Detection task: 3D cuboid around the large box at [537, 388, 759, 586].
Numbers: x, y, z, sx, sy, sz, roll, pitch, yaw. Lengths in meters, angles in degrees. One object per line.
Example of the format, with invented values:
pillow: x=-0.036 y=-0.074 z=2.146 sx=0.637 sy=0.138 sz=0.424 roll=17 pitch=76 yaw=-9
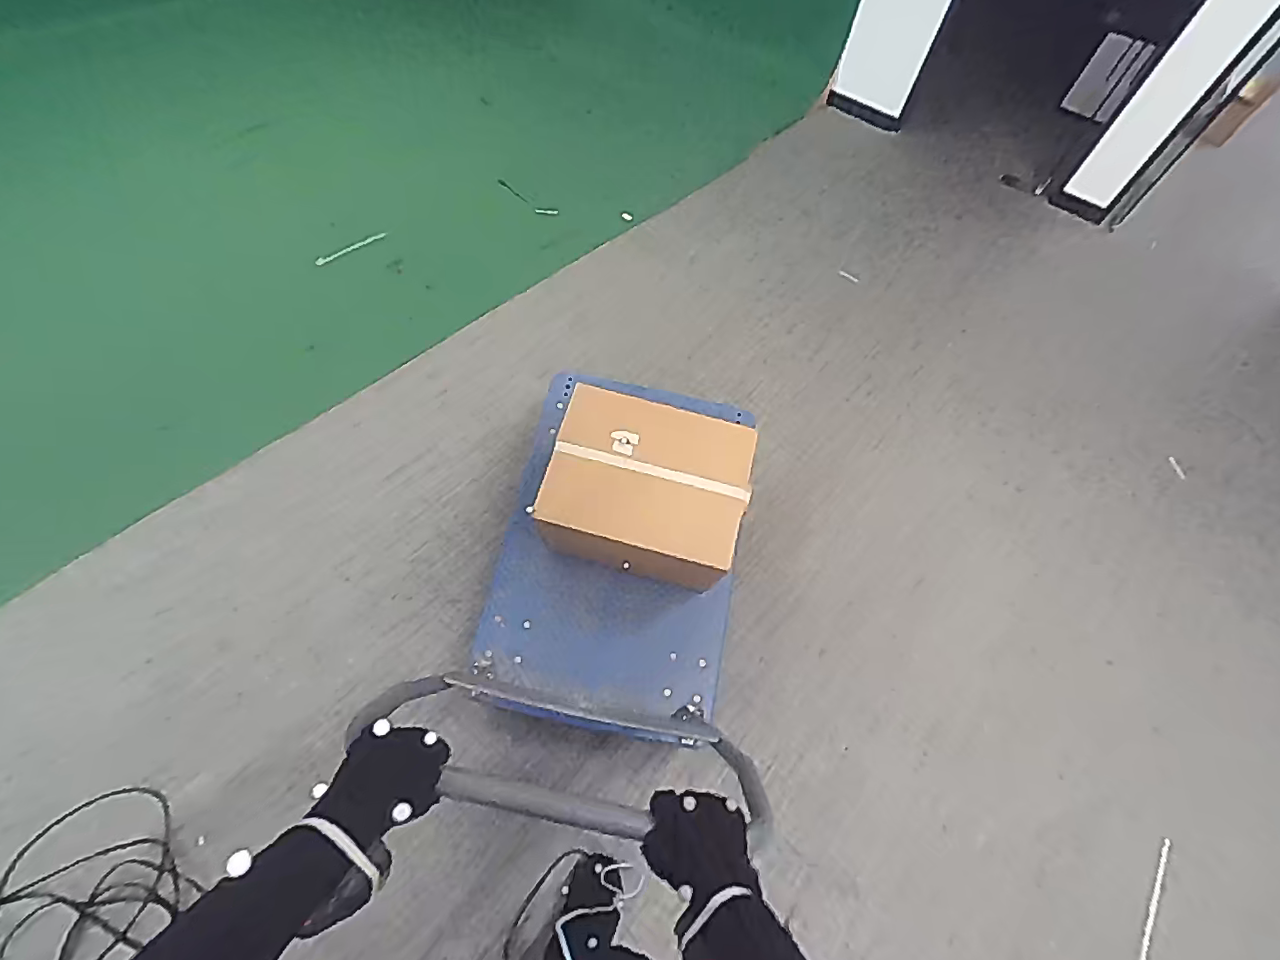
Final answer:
large box: x=0.023 y=0.034 z=1.236 sx=0.408 sy=0.320 sz=0.320 roll=14 pitch=71 yaw=4
